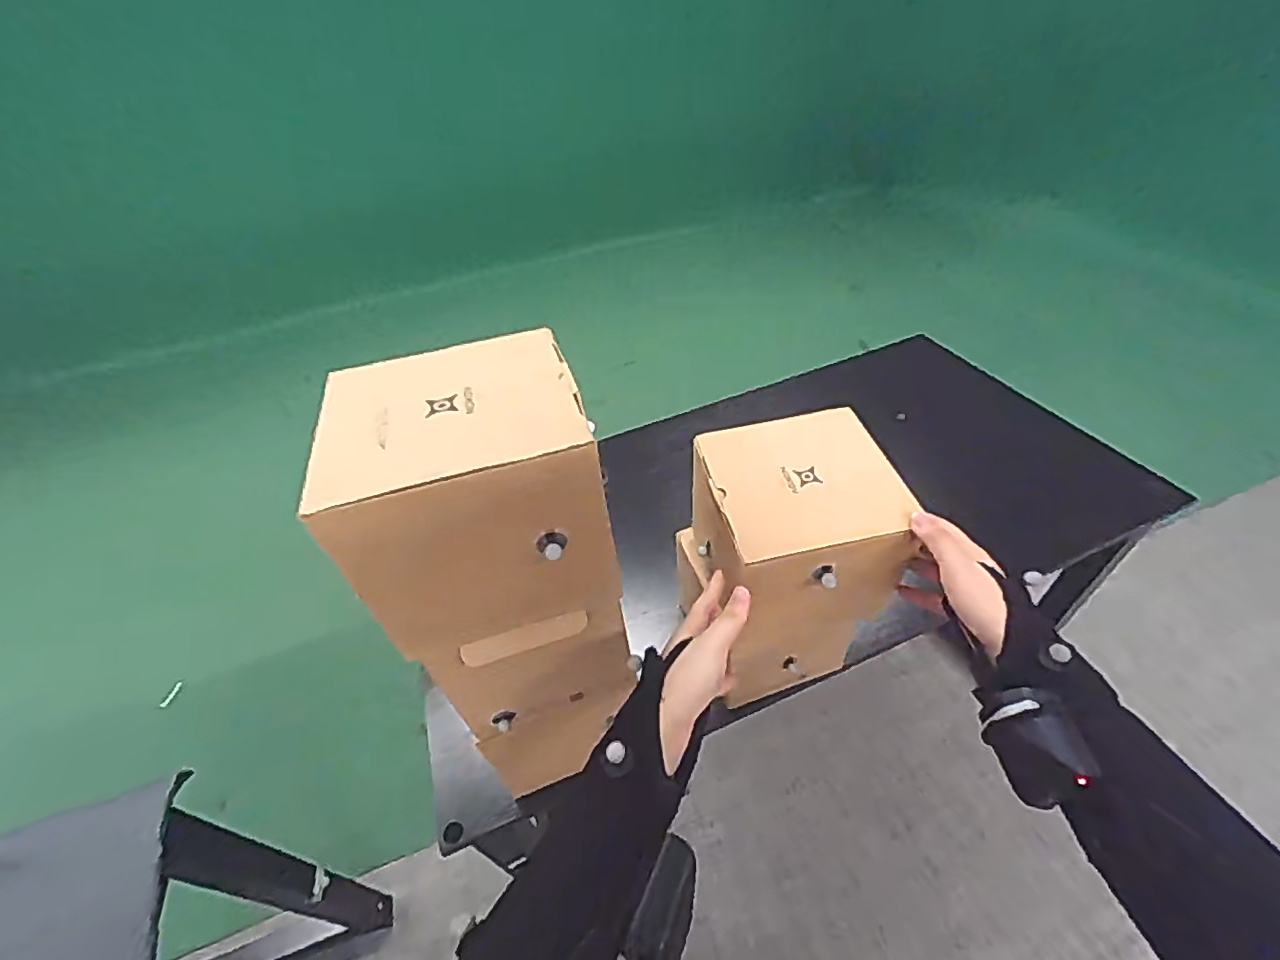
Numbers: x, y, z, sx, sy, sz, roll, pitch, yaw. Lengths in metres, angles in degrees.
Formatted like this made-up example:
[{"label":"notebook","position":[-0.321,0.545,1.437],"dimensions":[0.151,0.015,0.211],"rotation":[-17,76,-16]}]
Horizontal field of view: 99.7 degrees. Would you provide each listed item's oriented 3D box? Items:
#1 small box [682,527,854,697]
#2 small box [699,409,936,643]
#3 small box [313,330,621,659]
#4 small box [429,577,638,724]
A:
[{"label":"small box","position":[0.163,0.159,0.707],"dimensions":[0.168,0.176,0.179],"rotation":[-16,45,-9]},{"label":"small box","position":[0.167,0.052,0.578],"dimensions":[0.179,0.176,0.168],"rotation":[-11,48,-5]},{"label":"small box","position":[-0.118,0.010,0.428],"dimensions":[0.179,0.176,0.168],"rotation":[-16,43,-9]},{"label":"small box","position":[-0.107,0.121,0.547],"dimensions":[0.168,0.176,0.179],"rotation":[-16,44,-10]}]
